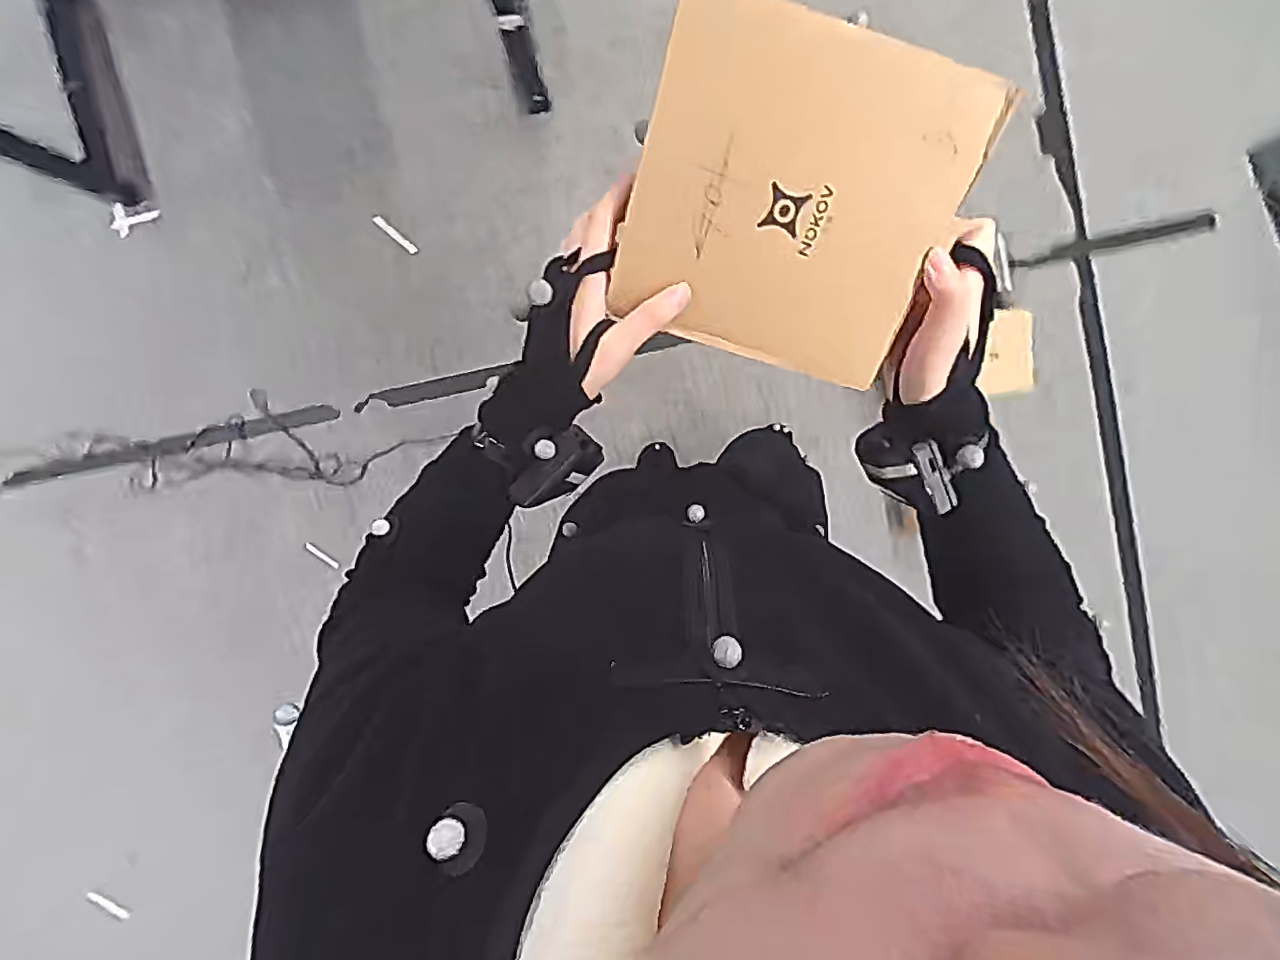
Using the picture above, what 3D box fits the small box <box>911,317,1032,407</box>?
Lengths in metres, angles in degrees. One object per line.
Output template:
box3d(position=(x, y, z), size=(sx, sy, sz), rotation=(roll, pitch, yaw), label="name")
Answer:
box3d(position=(0.715, -0.252, 1.186), size=(0.179, 0.176, 0.168), rotation=(-5, 96, 1), label="small box")

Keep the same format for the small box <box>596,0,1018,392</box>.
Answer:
box3d(position=(0.083, -0.182, 0.359), size=(0.179, 0.176, 0.168), rotation=(16, 118, -4), label="small box")

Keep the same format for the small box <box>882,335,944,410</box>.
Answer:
box3d(position=(0.723, -0.274, 1.349), size=(0.168, 0.176, 0.179), rotation=(-10, 97, 2), label="small box")

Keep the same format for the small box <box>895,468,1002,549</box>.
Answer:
box3d(position=(0.782, 0.067, 1.383), size=(0.179, 0.176, 0.168), rotation=(-10, 95, 2), label="small box")
